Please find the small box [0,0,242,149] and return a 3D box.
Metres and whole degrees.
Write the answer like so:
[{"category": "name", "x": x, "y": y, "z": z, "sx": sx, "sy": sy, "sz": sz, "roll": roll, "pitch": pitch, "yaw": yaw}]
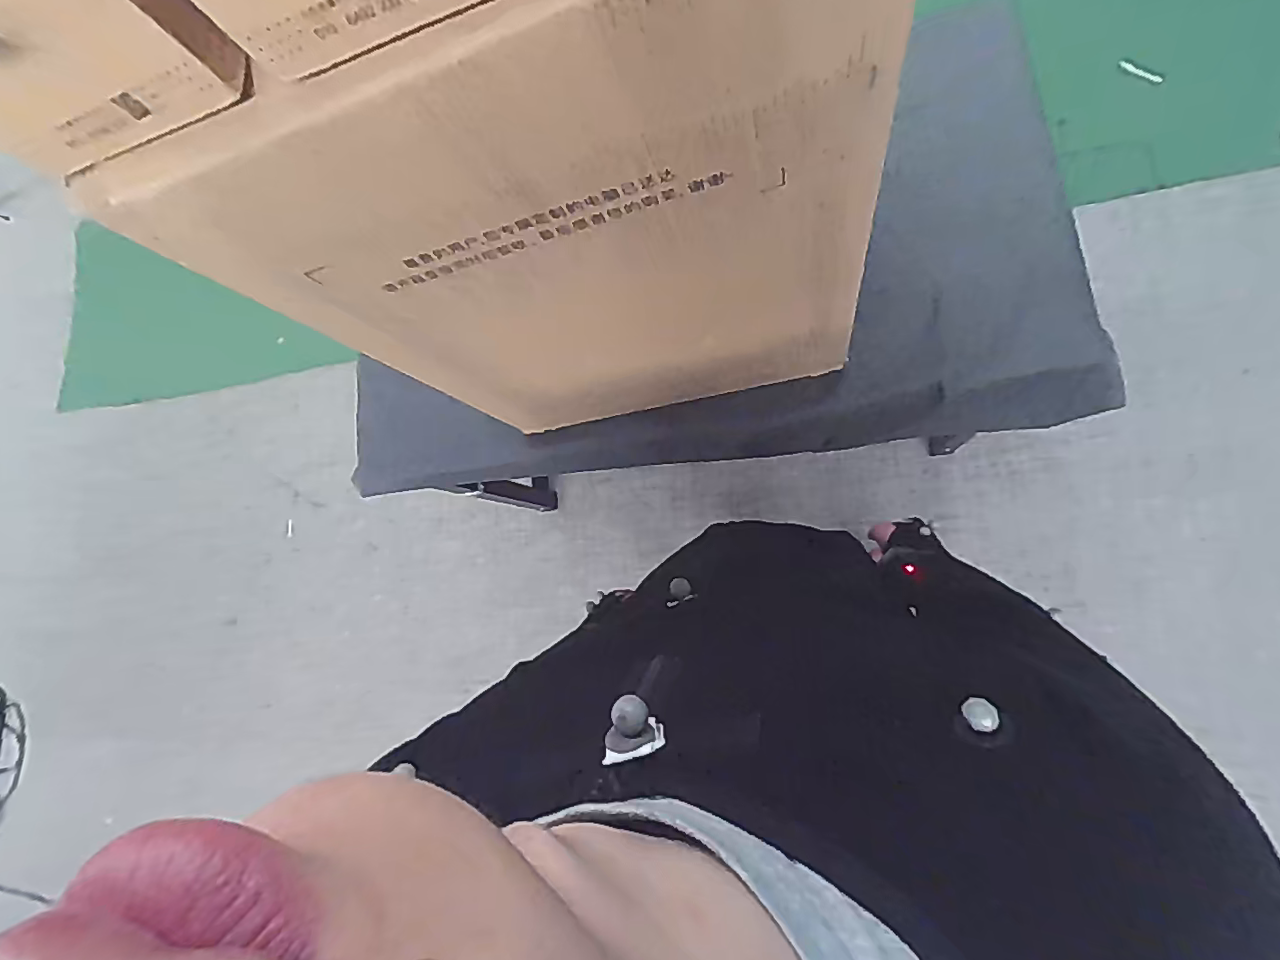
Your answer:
[{"category": "small box", "x": -0.334, "y": -0.304, "z": 0.269, "sx": 0.168, "sy": 0.176, "sz": 0.179, "roll": -9, "pitch": 80, "yaw": 15}]
